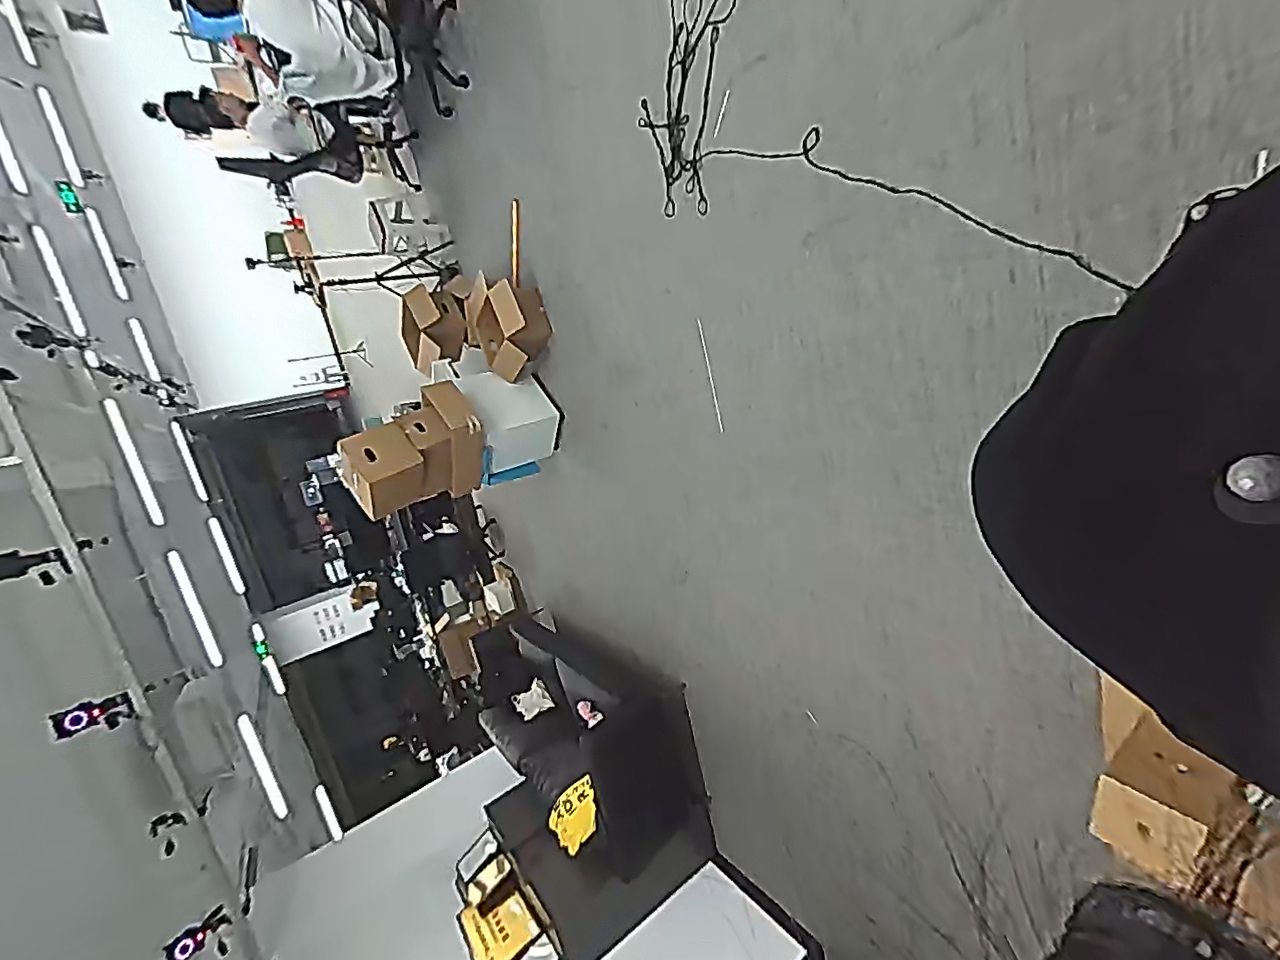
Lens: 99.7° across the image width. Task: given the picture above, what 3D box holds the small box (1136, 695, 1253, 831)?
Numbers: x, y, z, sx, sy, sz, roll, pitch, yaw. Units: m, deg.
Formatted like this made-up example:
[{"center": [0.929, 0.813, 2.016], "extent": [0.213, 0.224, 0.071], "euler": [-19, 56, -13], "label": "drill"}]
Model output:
[{"center": [1.239, 0.626, 1.222], "extent": [0.168, 0.176, 0.179], "euler": [17, 122, 54], "label": "small box"}]

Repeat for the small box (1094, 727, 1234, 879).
[{"center": [1.104, 0.670, 1.141], "extent": [0.168, 0.176, 0.179], "euler": [20, 123, 52], "label": "small box"}]
